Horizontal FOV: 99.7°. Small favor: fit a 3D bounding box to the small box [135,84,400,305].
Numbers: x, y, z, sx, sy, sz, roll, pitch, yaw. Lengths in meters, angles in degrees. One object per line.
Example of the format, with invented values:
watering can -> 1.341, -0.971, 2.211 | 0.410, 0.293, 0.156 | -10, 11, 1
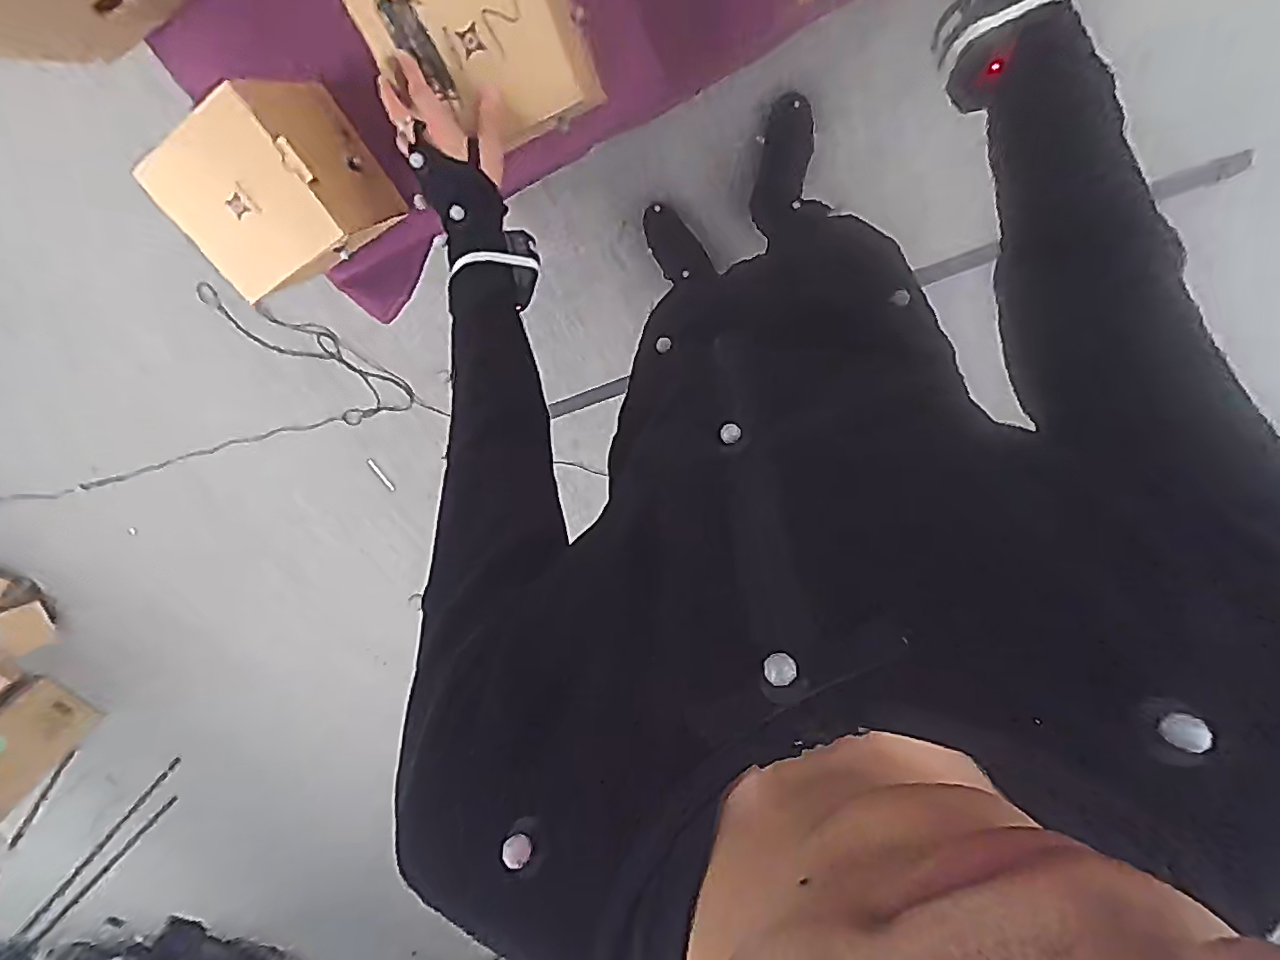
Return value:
small box -> -0.441, -0.350, 0.672 | 0.179, 0.176, 0.168 | -23, 120, 19
